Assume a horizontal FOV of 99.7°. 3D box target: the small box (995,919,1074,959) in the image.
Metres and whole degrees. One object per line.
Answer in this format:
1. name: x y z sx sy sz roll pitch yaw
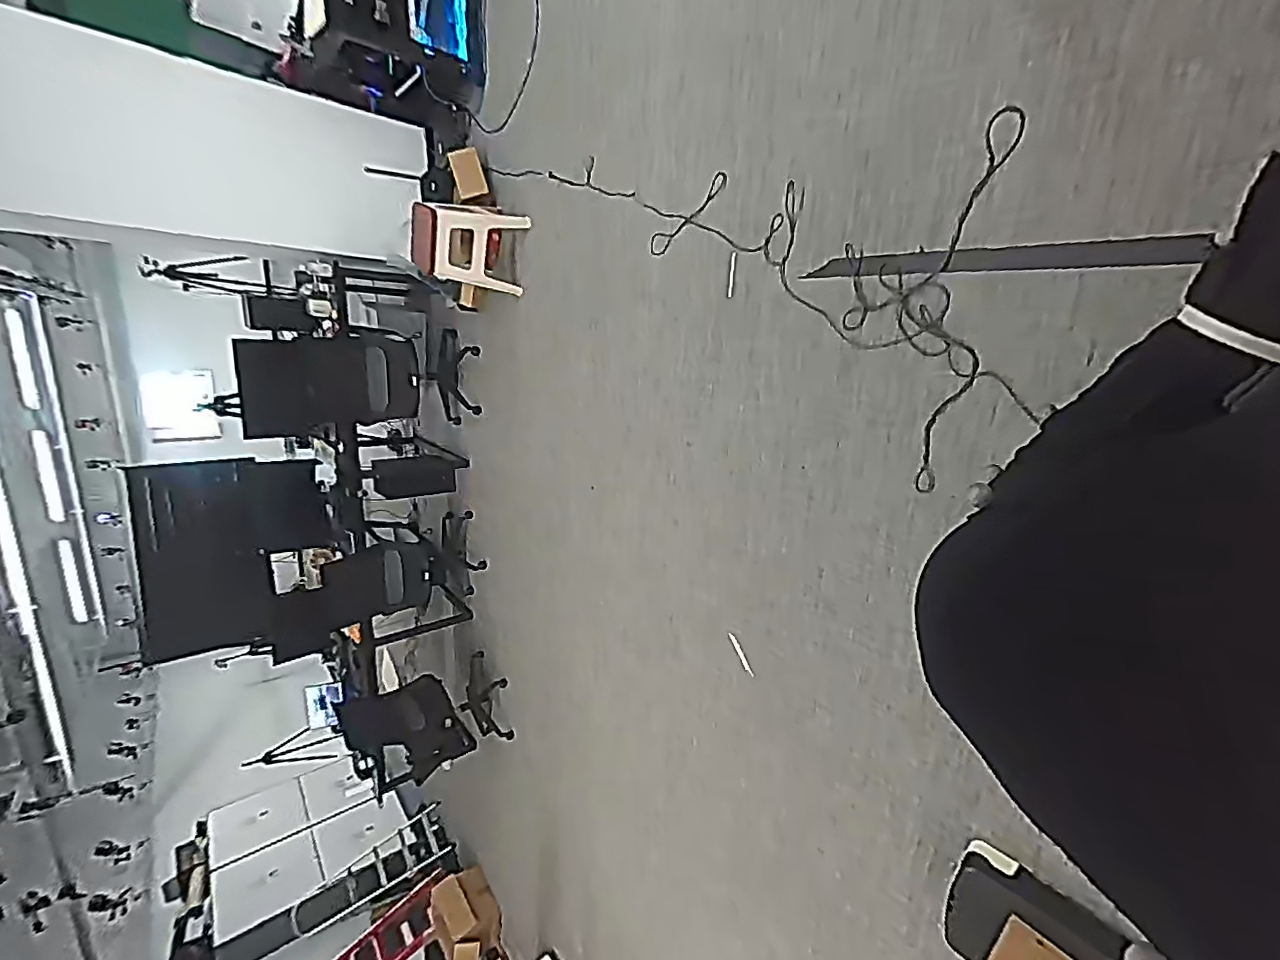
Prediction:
1. small box: 0.862 1.122 1.174 0.168 0.176 0.179 25 116 46
